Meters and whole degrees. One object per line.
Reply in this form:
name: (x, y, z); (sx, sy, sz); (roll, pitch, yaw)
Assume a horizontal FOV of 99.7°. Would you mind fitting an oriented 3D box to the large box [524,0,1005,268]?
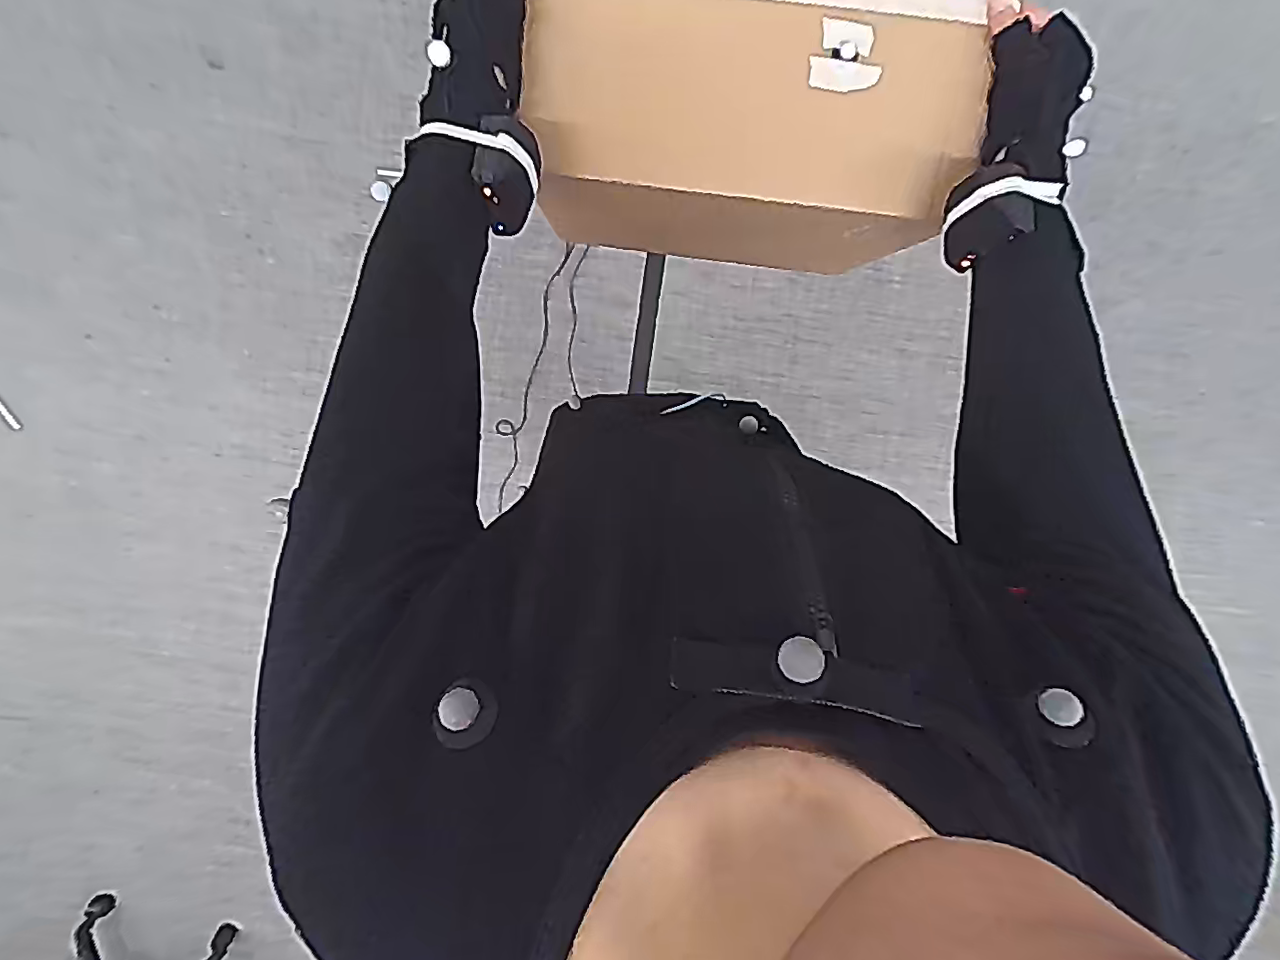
large box: (0.102, -0.436, 0.594); (0.408, 0.320, 0.320); (6, 104, -3)
